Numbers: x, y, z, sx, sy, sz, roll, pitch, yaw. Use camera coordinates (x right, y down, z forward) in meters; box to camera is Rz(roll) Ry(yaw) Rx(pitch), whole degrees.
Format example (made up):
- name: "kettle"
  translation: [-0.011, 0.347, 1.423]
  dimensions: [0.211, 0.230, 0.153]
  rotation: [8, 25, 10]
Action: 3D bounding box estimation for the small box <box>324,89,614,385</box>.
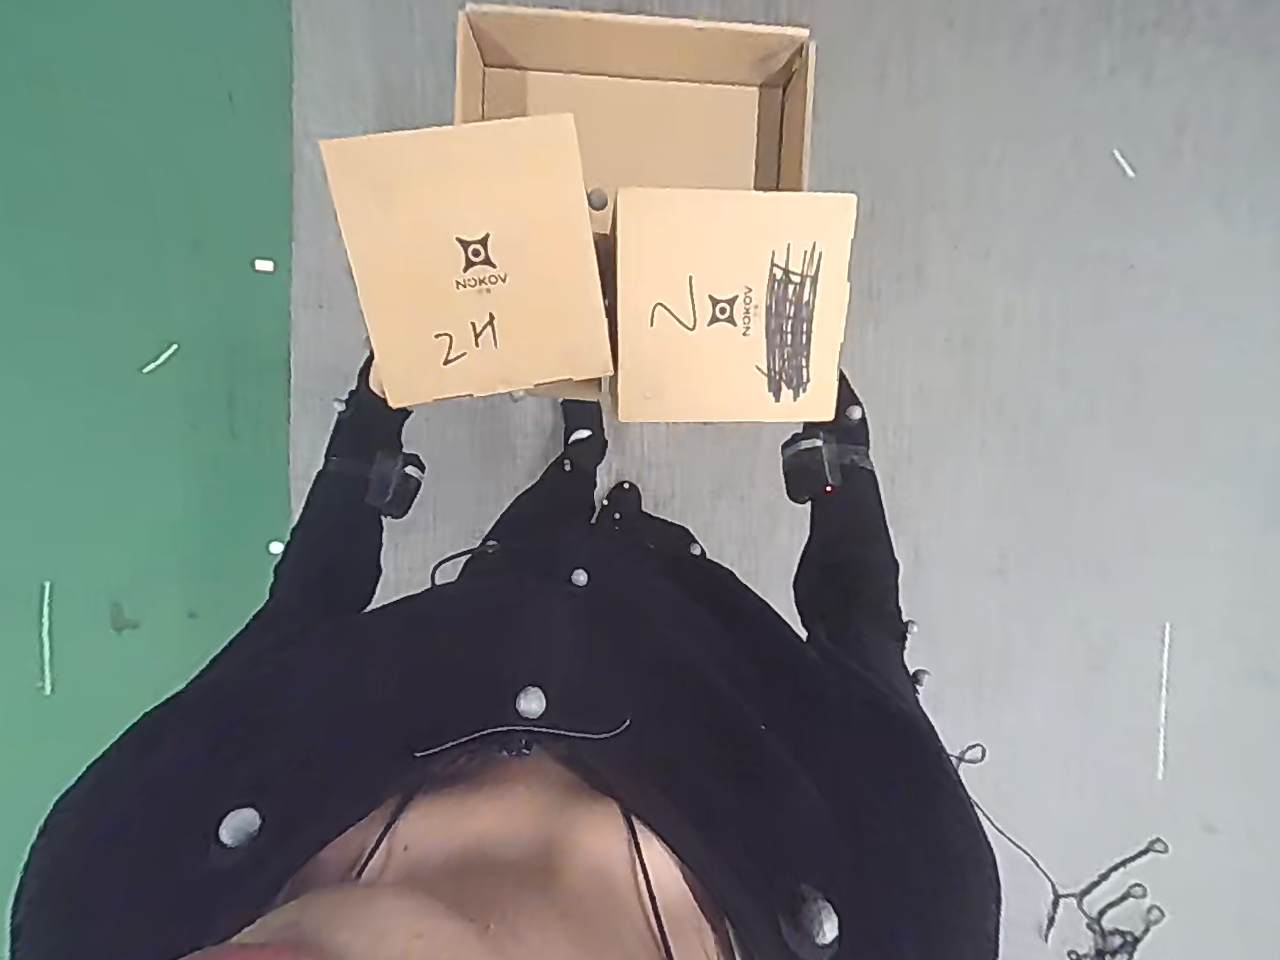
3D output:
- name: "small box"
  translation: [-0.119, -0.179, 0.444]
  dimensions: [0.168, 0.176, 0.179]
  rotation: [-9, 105, -4]
